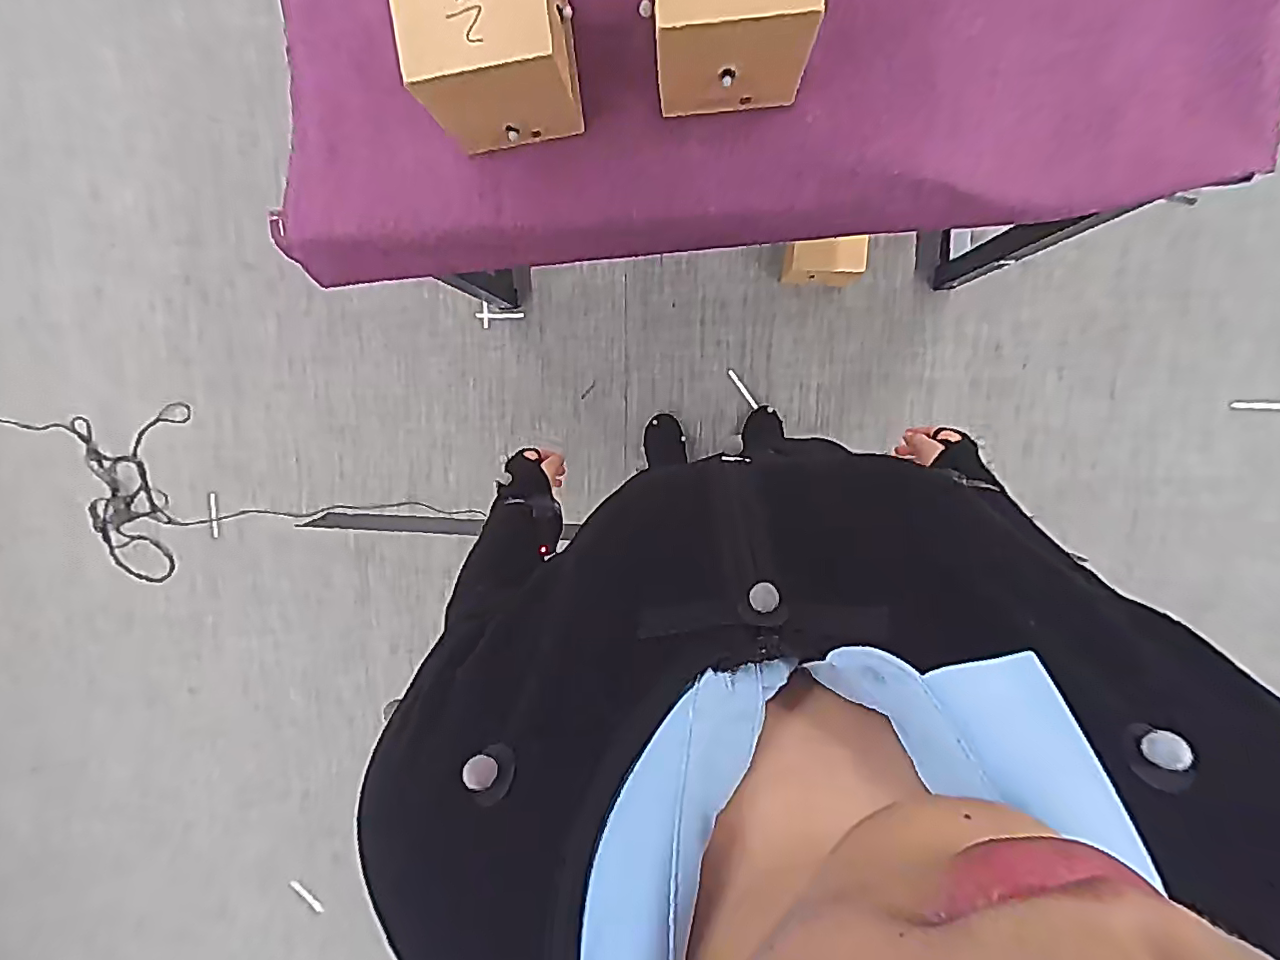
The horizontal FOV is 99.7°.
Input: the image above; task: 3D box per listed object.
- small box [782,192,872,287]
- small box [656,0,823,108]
[{"bbox_3d":[0.443,-0.575,1.311,0.168,0.176,0.179,4,98,5],"label":"small box"},{"bbox_3d":[0.103,-0.548,0.603,0.168,0.176,0.179,-2,96,4],"label":"small box"}]
